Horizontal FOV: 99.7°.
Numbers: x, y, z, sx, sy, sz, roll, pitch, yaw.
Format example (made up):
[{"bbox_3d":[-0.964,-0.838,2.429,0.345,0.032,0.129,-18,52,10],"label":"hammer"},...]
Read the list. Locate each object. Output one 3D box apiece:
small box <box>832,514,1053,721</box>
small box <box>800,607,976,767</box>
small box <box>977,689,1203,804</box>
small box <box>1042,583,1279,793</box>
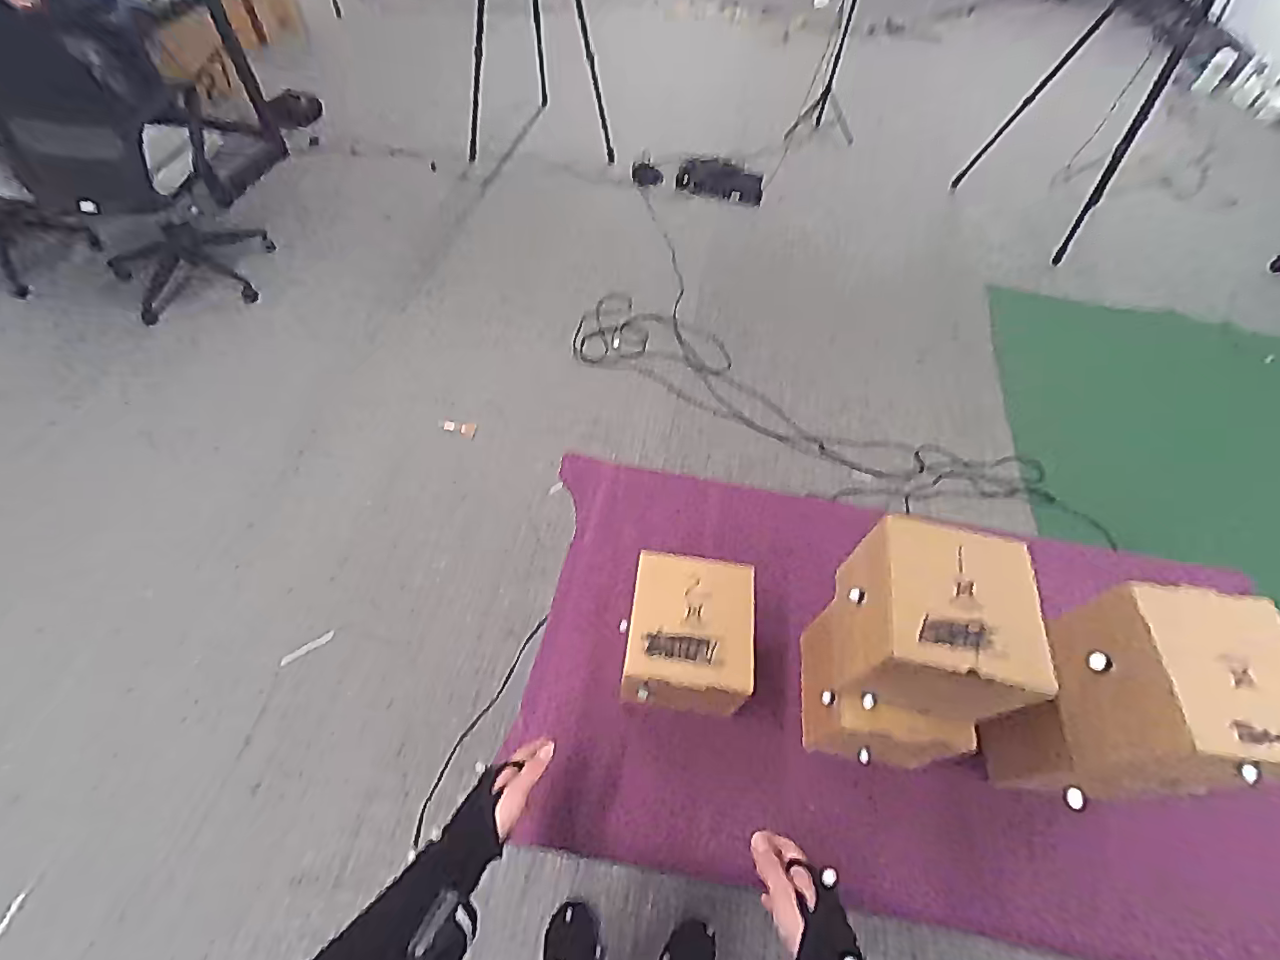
[{"bbox_3d":[0.342,0.171,0.651,0.168,0.176,0.179,13,55,4],"label":"small box"},{"bbox_3d":[0.333,0.290,0.769,0.168,0.176,0.179,9,56,1],"label":"small box"},{"bbox_3d":[0.594,0.336,0.755,0.168,0.176,0.179,8,55,1],"label":"small box"},{"bbox_3d":[0.606,0.241,0.621,0.168,0.176,0.179,7,54,1],"label":"small box"}]
